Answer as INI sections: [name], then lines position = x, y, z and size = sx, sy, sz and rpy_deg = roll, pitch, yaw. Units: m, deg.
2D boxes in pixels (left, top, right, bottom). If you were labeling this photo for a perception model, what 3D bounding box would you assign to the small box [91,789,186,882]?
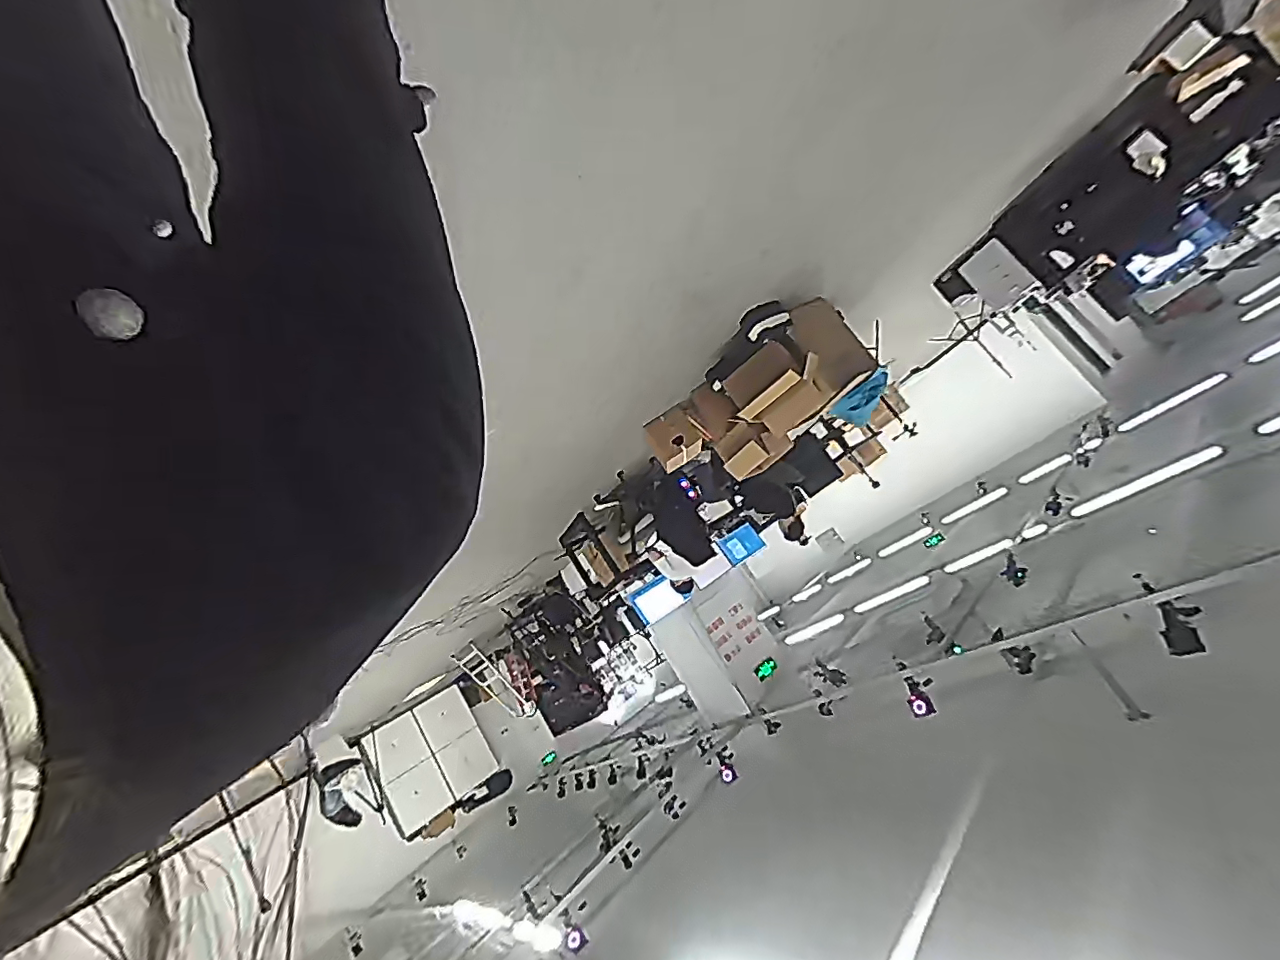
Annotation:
[small box]
position = -1.545, 1.093, 1.667
size = 0.179, 0.176, 0.168
rpy_deg = -22, 163, -39
